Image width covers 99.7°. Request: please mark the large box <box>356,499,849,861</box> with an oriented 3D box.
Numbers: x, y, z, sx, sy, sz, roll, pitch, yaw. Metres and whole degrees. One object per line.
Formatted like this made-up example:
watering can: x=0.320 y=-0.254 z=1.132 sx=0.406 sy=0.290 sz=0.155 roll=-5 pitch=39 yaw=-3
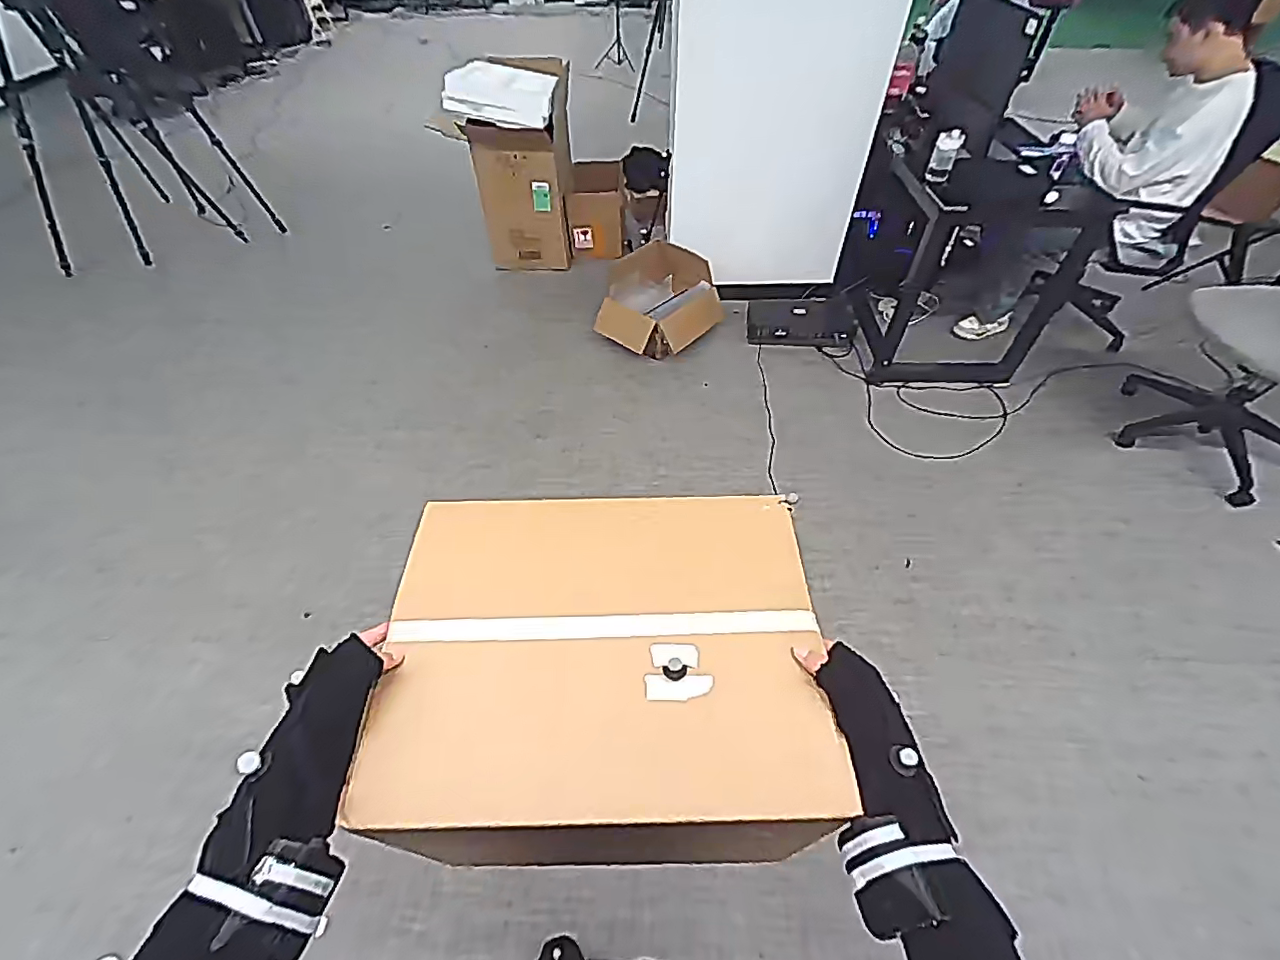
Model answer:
large box: x=-0.032 y=0.239 z=0.637 sx=0.408 sy=0.320 sz=0.320 roll=-1 pitch=50 yaw=0
